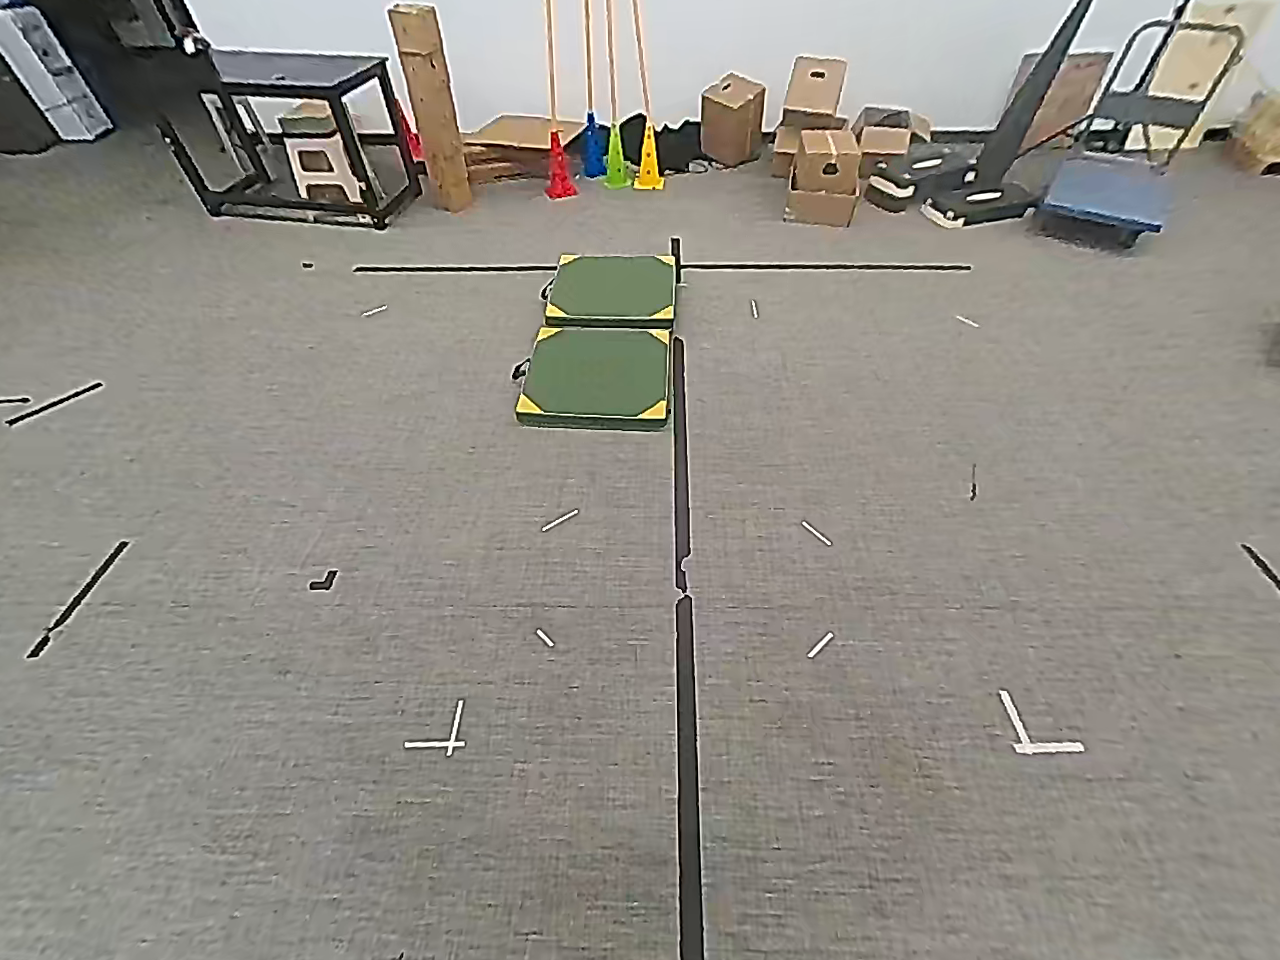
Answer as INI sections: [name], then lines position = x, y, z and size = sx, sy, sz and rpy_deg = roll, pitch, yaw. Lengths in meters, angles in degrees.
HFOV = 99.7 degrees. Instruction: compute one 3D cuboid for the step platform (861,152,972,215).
[step platform]
position = 1.786, -1.918, 3.484
size = 0.684, 0.204, 0.286
rpy_deg = -22, 53, -17
